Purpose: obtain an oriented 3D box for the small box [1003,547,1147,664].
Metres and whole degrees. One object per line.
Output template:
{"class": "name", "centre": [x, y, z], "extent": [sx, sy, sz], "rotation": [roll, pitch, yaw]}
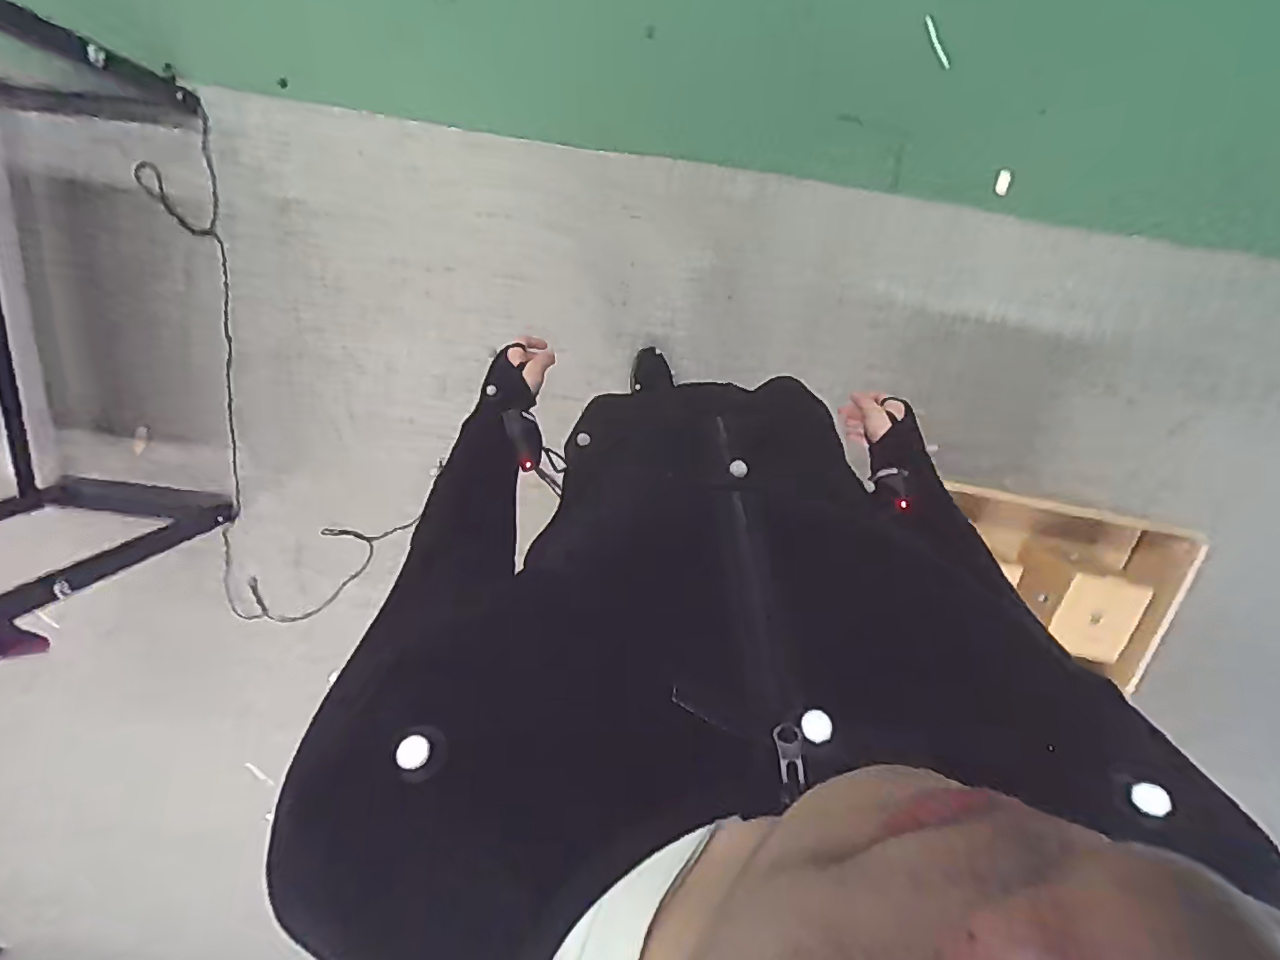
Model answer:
{"class": "small box", "centre": [0.926, 0.267, 1.185], "extent": [0.168, 0.176, 0.179], "rotation": [14, 106, -3]}
